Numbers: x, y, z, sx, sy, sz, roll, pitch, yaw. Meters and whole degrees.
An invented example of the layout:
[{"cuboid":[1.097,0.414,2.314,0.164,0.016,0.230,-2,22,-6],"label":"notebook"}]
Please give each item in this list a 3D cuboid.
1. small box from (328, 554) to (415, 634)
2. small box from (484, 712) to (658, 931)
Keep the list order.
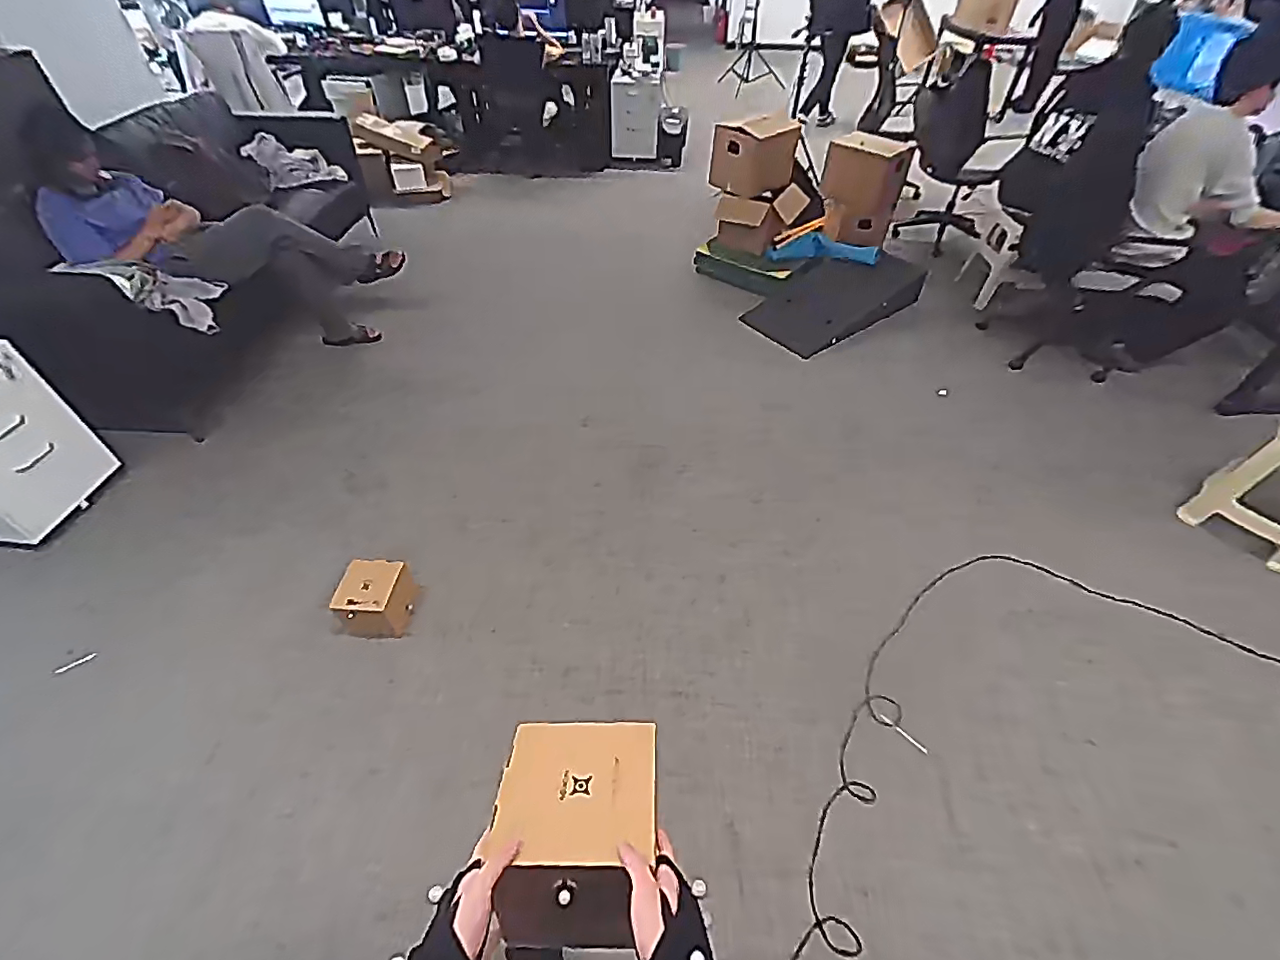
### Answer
[{"cuboid":[-0.823,0.355,1.681,0.168,0.176,0.179,3,46,2],"label":"small box"},{"cuboid":[-0.068,0.405,0.649,0.179,0.176,0.168,-1,28,1],"label":"small box"}]
